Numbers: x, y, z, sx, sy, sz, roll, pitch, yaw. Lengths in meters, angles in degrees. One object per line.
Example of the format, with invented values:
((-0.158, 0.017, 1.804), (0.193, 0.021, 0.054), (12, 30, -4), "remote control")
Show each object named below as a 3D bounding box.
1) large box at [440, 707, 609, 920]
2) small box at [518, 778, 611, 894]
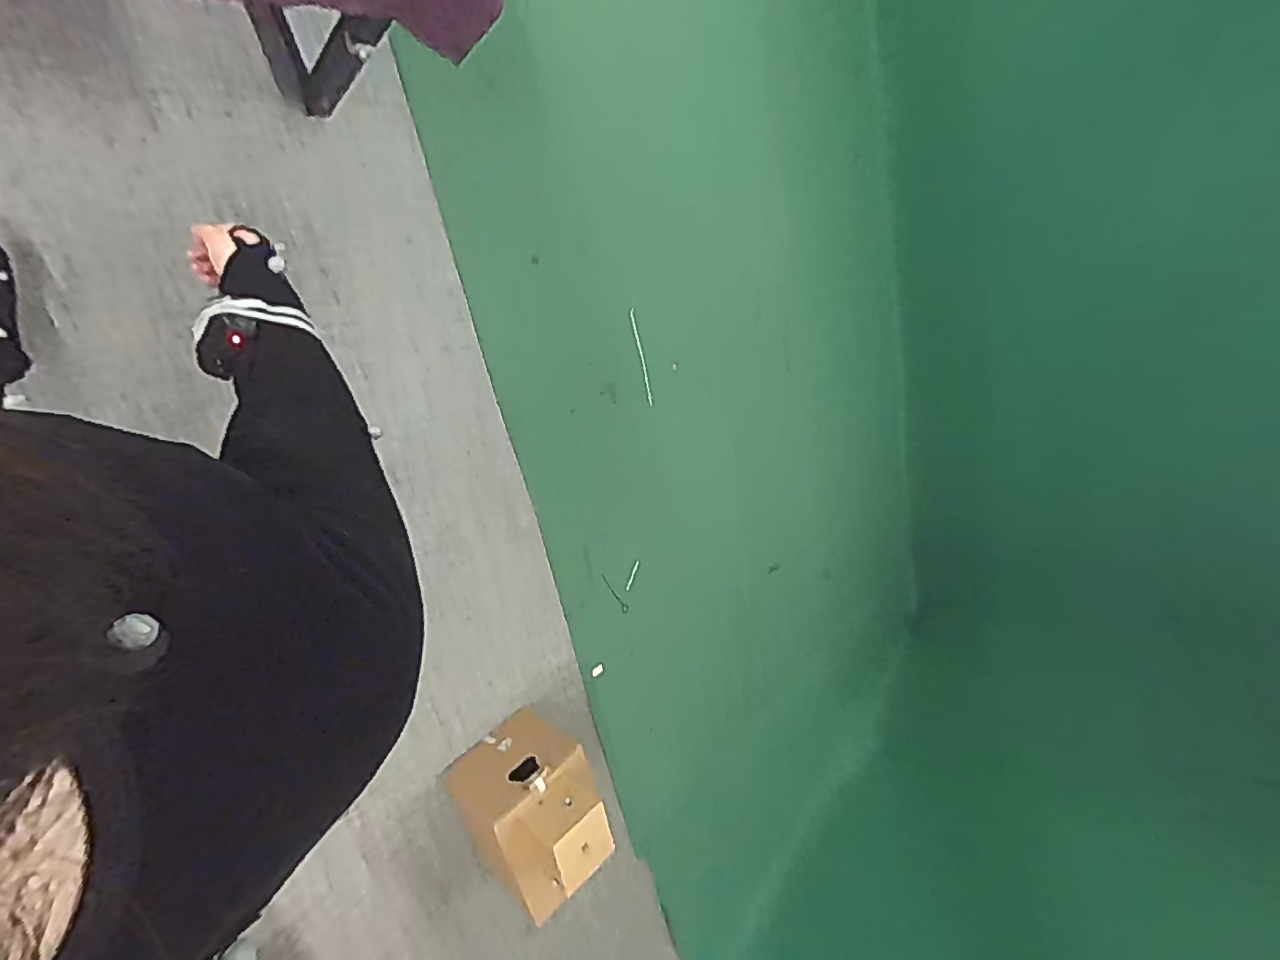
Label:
((-0.350, 0.999, 1.665), (0.320, 0.320, 0.408), (-30, 115, -39), "large box")
((-0.206, 0.940, 1.456), (0.168, 0.176, 0.179), (-25, 112, -40), "small box")
